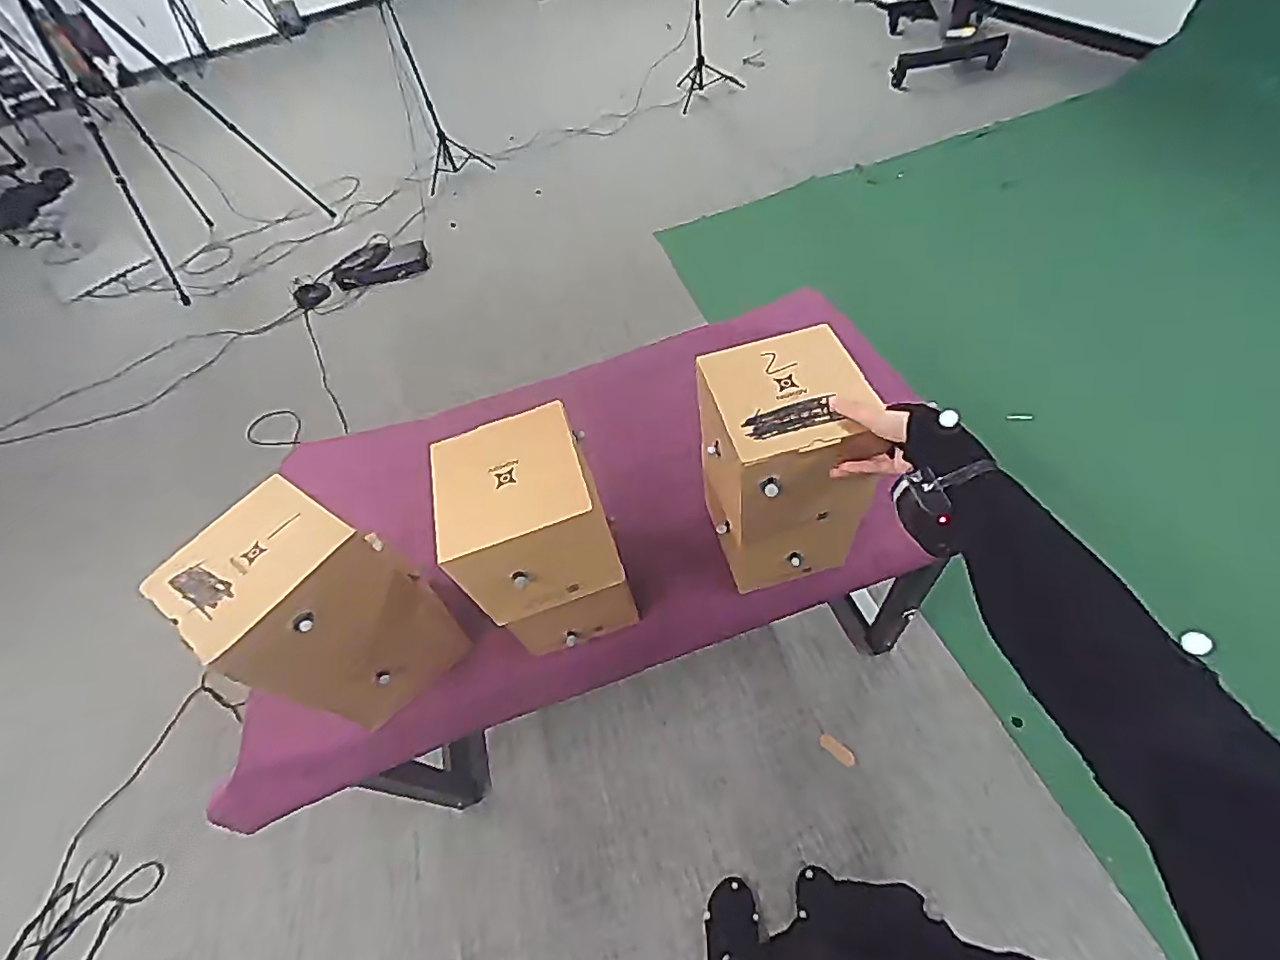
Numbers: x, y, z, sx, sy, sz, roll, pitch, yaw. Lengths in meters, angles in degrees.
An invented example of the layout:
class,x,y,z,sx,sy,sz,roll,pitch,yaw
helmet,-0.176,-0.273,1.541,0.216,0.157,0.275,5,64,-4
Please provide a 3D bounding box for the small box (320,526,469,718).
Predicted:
class,x,y,z,sx,sy,sz,roll,pitch,yaw
small box,-0.381,0.207,0.774,0.179,0.176,0.168,-40,57,-18

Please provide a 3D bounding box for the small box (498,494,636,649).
class,x,y,z,sx,sy,sz,roll,pitch,yaw
small box,-0.115,0.118,0.793,0.168,0.176,0.179,-19,53,-2

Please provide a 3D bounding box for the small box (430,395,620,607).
class,x,y,z,sx,sy,sz,roll,pitch,yaw
small box,-0.134,0.034,0.654,0.168,0.176,0.179,-20,51,-3

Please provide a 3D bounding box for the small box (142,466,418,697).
class,x,y,z,sx,sy,sz,roll,pitch,yaw
small box,-0.402,0.122,0.634,0.168,0.176,0.179,26,61,26

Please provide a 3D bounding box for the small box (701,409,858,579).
class,x,y,z,sx,sy,sz,roll,pitch,yaw
small box,0.196,0.029,0.799,0.168,0.176,0.179,-15,53,-1
